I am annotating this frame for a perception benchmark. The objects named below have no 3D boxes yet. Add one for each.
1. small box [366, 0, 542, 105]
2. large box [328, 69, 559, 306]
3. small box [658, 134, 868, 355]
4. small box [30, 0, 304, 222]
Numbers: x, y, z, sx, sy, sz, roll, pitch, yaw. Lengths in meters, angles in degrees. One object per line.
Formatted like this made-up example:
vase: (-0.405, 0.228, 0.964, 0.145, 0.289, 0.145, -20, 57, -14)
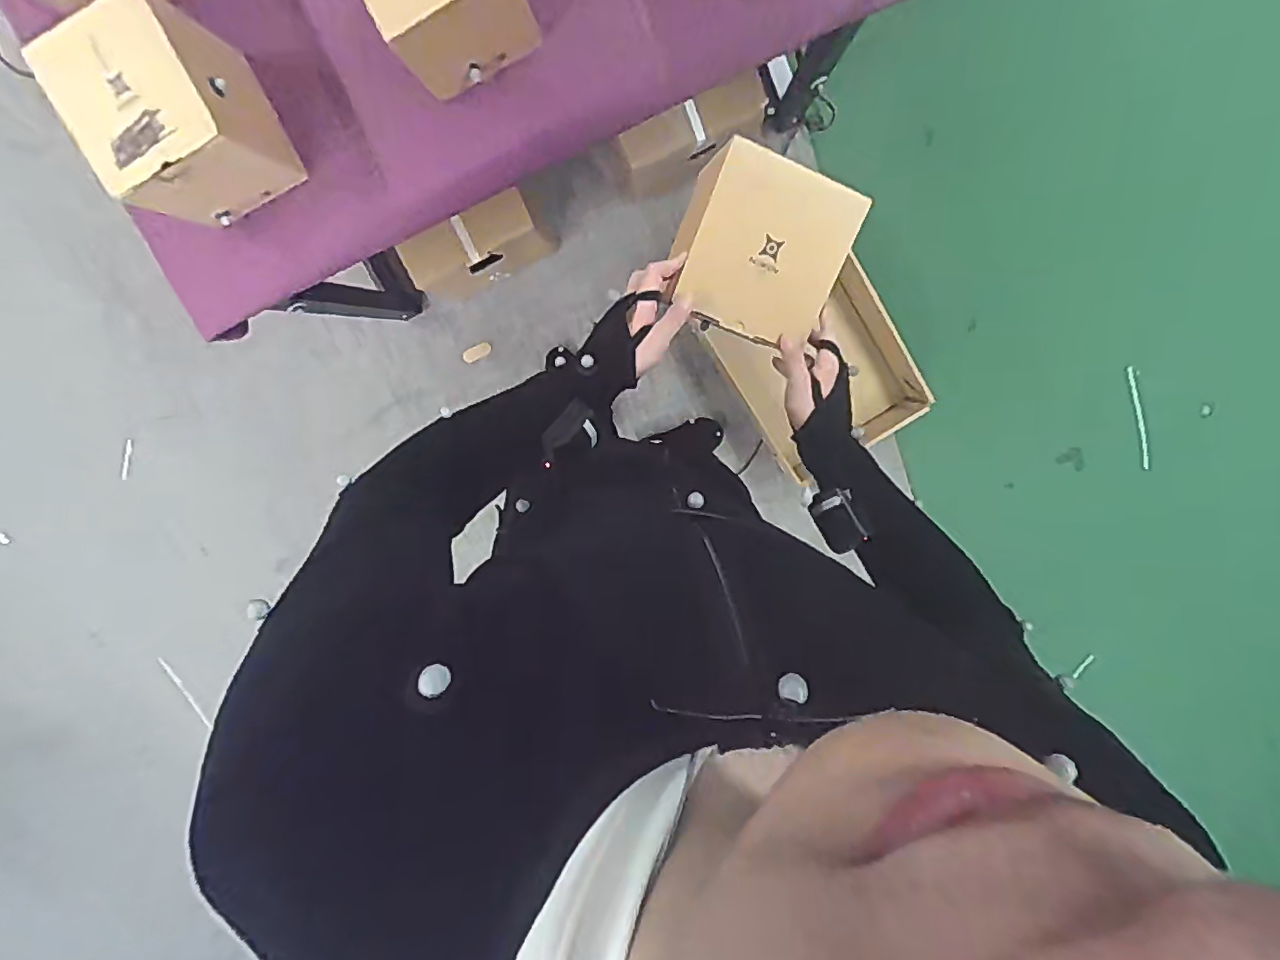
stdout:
small box: (-0.241, -0.613, 0.660, 0.168, 0.176, 0.179, -23, 101, 8)
large box: (-0.446, -0.693, 1.327, 0.320, 0.320, 0.408, -24, 100, 6)
small box: (0.129, -0.270, 0.649, 0.168, 0.176, 0.179, 18, 108, -11)
small box: (-0.591, -0.461, 0.705, 0.168, 0.176, 0.179, -24, 100, 7)
